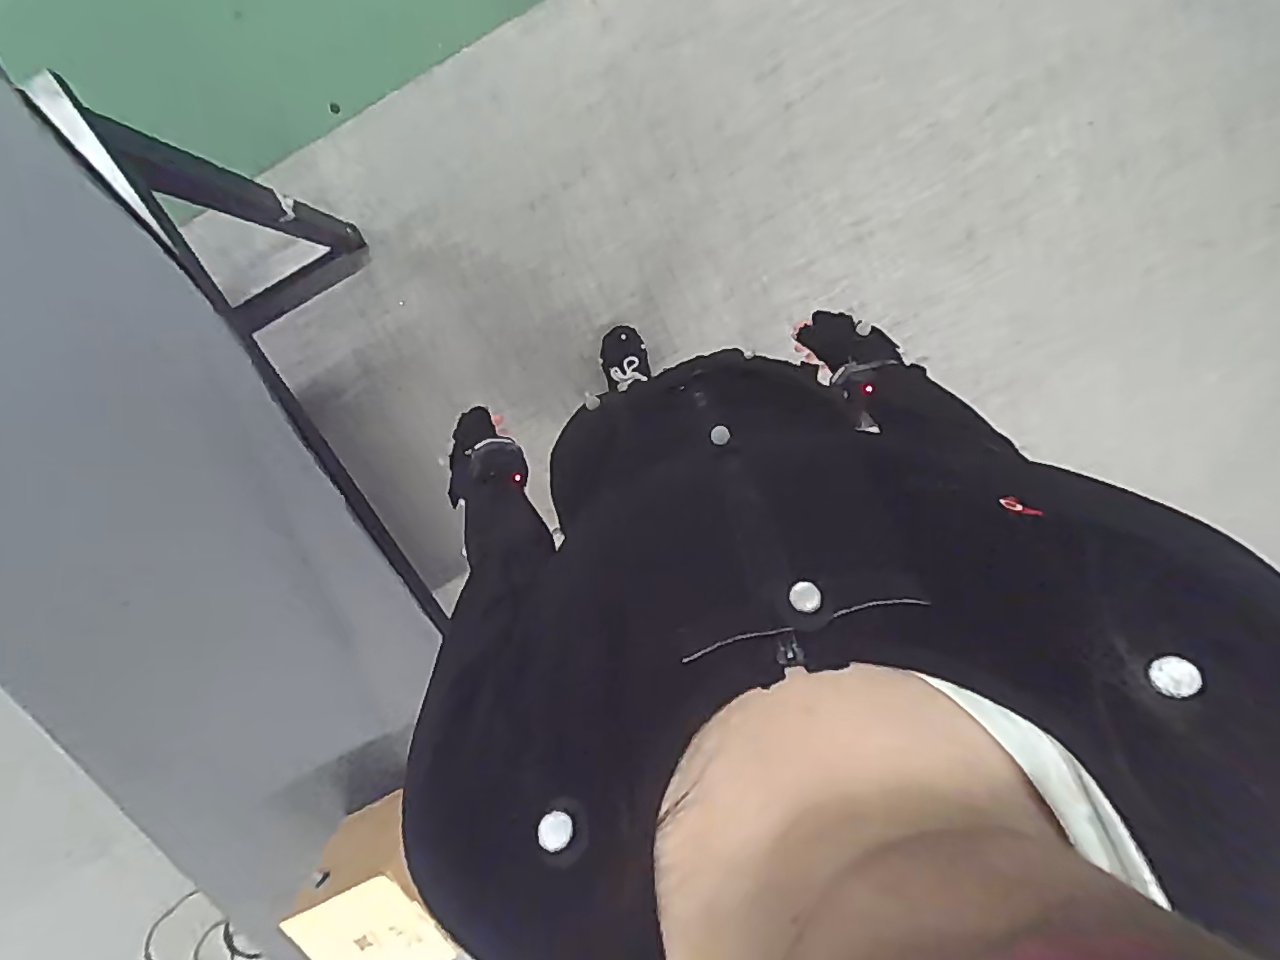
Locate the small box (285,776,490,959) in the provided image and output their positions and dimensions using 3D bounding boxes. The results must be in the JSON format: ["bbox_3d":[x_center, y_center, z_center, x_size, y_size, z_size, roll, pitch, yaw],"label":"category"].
[{"bbox_3d":[-0.347,0.579,0.782,0.179,0.176,0.168,-30,103,7],"label":"small box"}]
